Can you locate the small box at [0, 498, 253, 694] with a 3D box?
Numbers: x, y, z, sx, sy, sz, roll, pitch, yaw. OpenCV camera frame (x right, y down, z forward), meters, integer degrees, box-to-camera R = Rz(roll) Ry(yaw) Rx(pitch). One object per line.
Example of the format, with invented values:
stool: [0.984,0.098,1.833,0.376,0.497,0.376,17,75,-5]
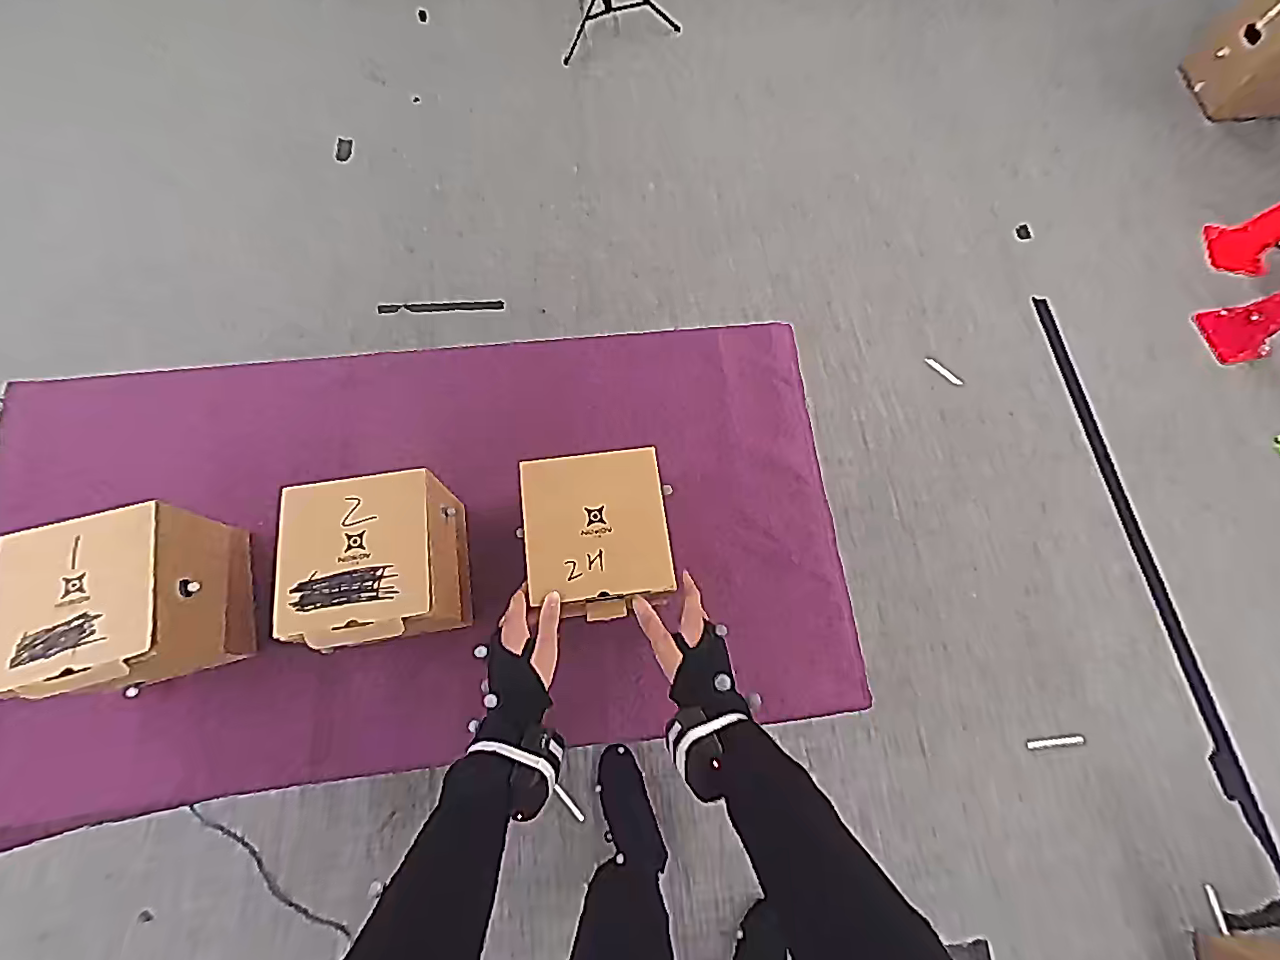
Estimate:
small box: [-0.602,0.143,0.651,0.168,0.176,0.179,-14,72,-7]

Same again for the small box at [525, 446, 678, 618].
small box: [-0.051,0.073,0.694,0.168,0.176,0.179,-6,72,-4]
